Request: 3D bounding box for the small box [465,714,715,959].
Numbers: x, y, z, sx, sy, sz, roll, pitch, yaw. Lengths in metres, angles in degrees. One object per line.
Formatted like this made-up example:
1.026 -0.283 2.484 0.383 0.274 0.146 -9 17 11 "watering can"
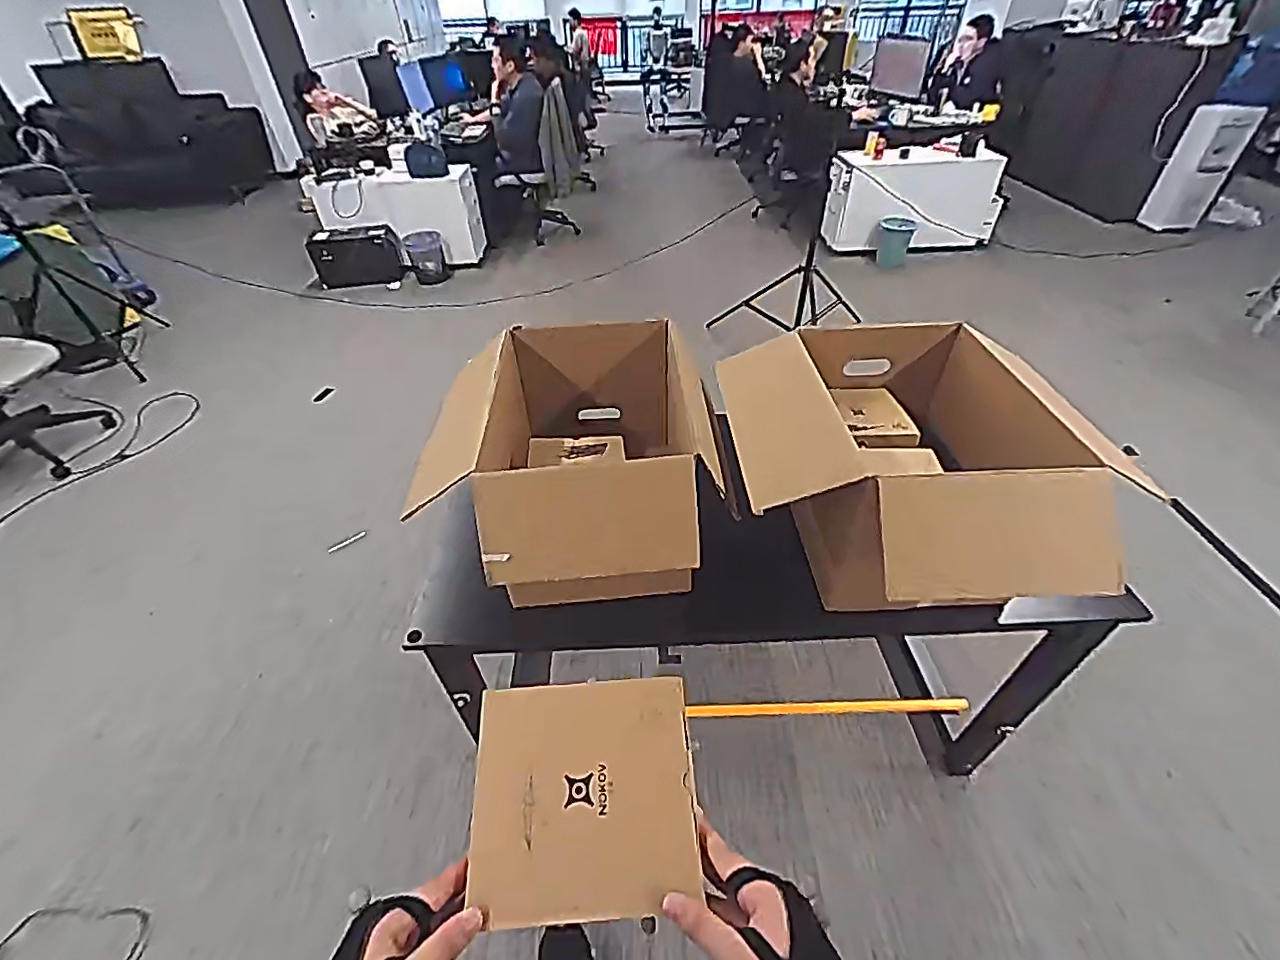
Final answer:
-0.038 0.317 0.480 0.179 0.176 0.168 -5 54 -1 "small box"
